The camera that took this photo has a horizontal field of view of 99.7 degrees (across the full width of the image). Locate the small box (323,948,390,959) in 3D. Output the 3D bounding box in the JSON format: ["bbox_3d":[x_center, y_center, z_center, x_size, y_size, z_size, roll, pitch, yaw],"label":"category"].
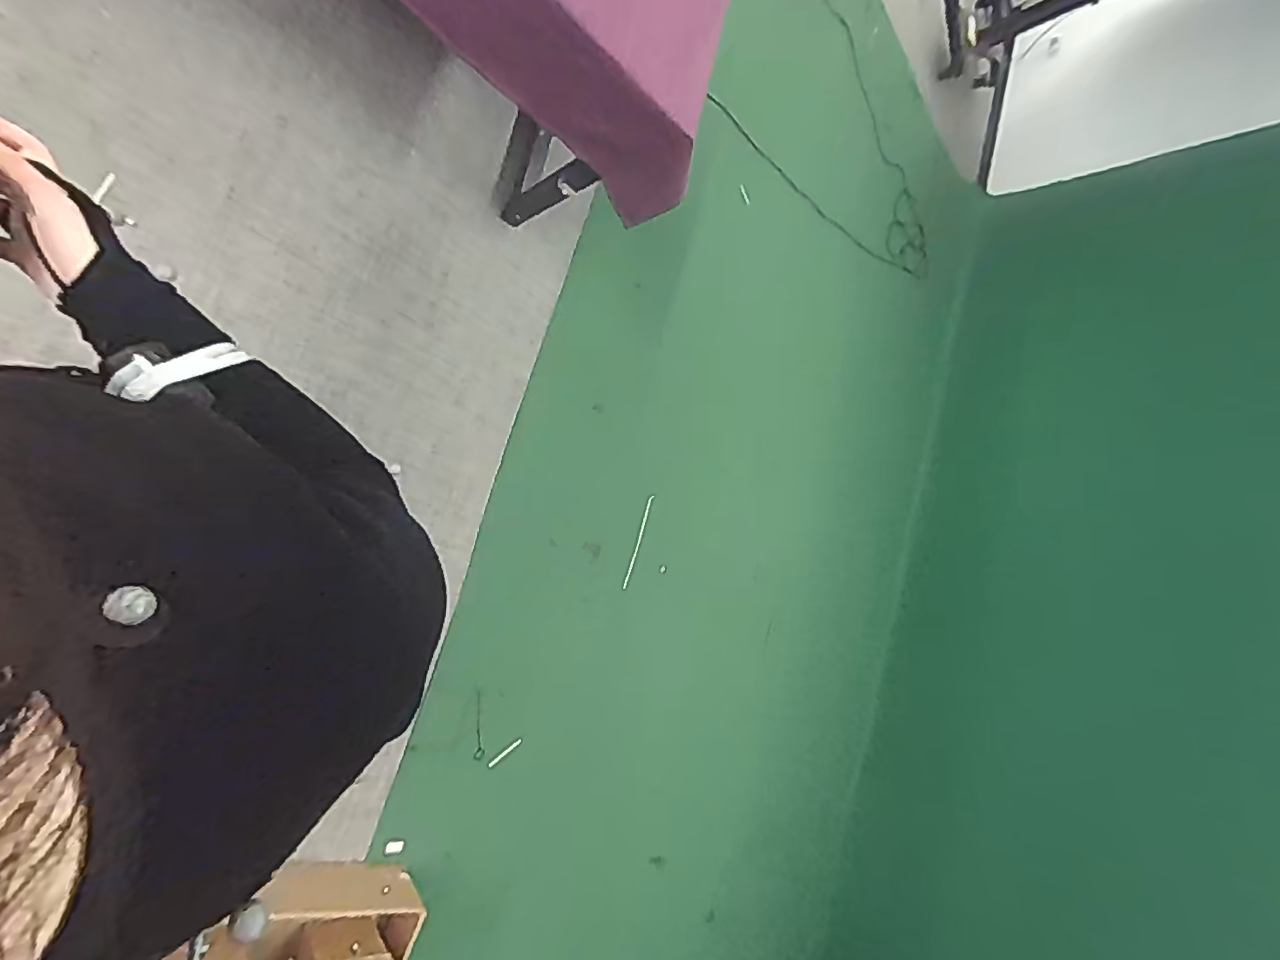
[{"bbox_3d":[-0.656,1.216,1.221,0.168,0.176,0.179,33,70,-39],"label":"small box"}]
